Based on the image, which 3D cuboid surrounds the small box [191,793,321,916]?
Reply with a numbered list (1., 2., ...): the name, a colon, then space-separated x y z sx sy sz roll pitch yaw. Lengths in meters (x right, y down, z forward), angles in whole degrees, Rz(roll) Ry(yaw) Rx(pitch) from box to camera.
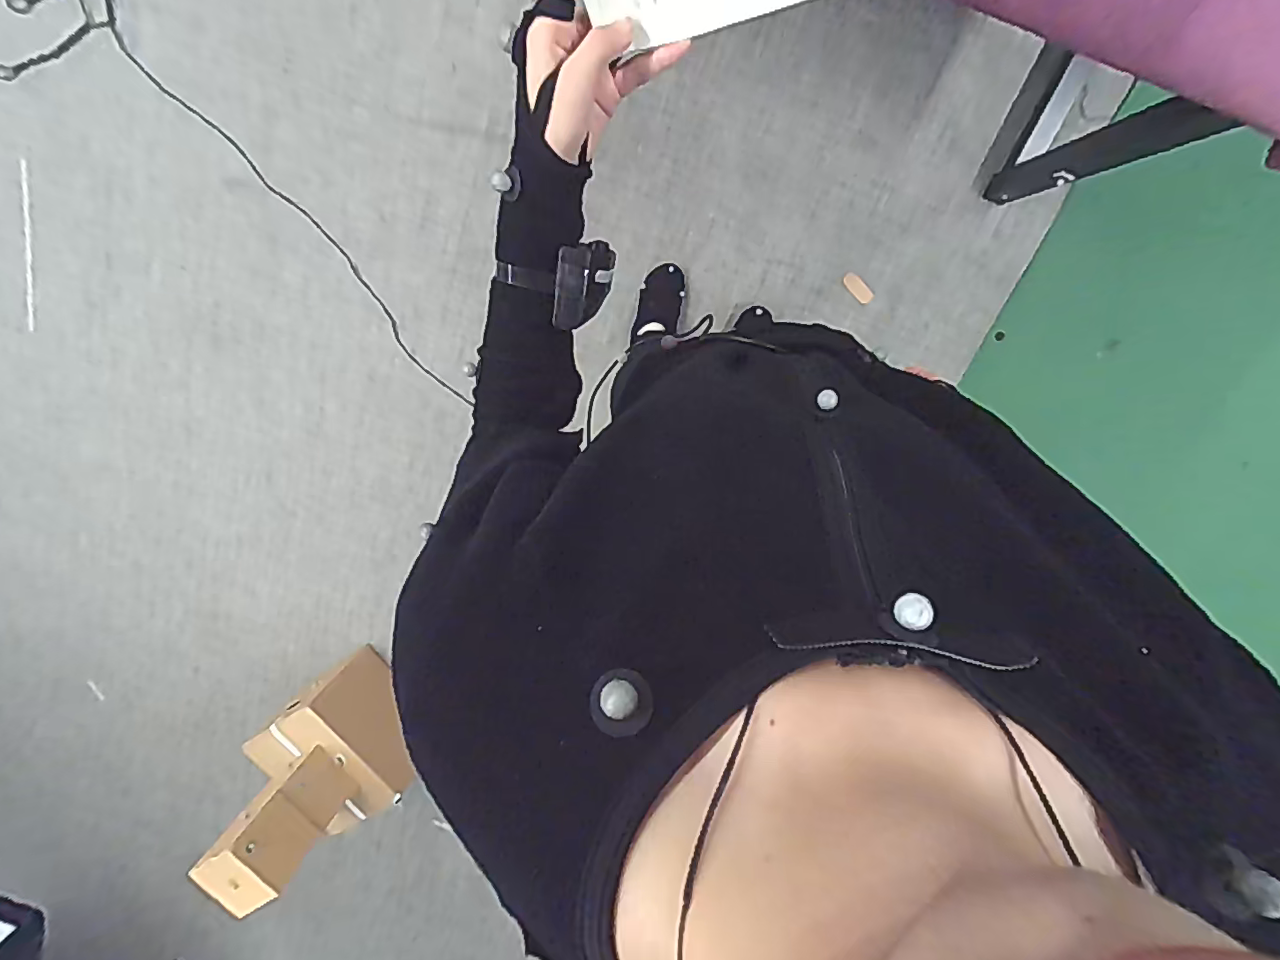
1. small box: -0.970 0.951 1.384 0.168 0.176 0.179 -35 100 15
